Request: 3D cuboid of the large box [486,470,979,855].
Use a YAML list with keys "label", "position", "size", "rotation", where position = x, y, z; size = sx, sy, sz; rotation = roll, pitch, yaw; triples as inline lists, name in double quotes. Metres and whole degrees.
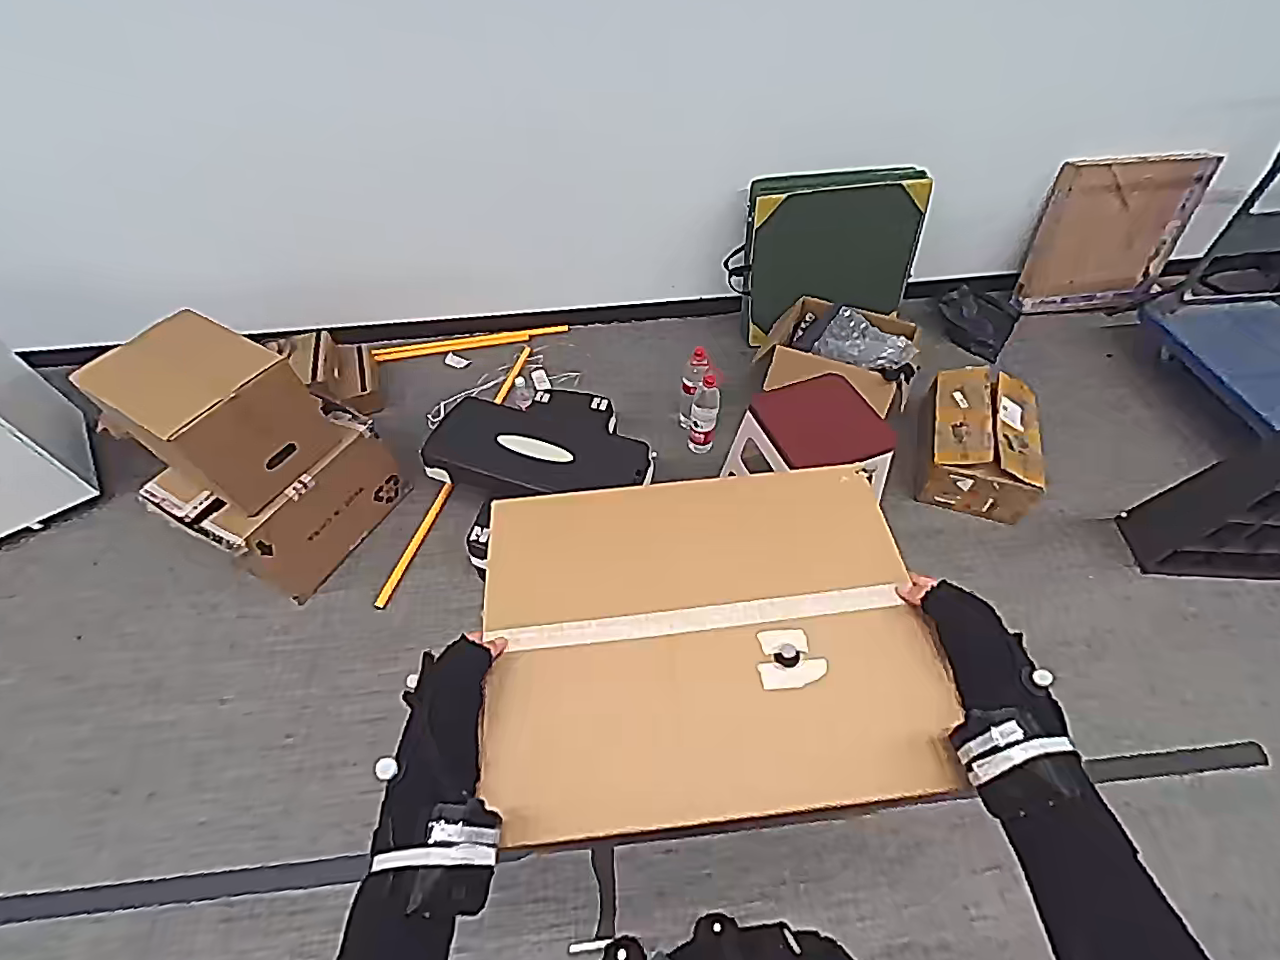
- label: "large box"
  position: [0.062, 0.219, 0.627]
  size: [0.408, 0.320, 0.320]
  rotation: [-6, 55, -3]
